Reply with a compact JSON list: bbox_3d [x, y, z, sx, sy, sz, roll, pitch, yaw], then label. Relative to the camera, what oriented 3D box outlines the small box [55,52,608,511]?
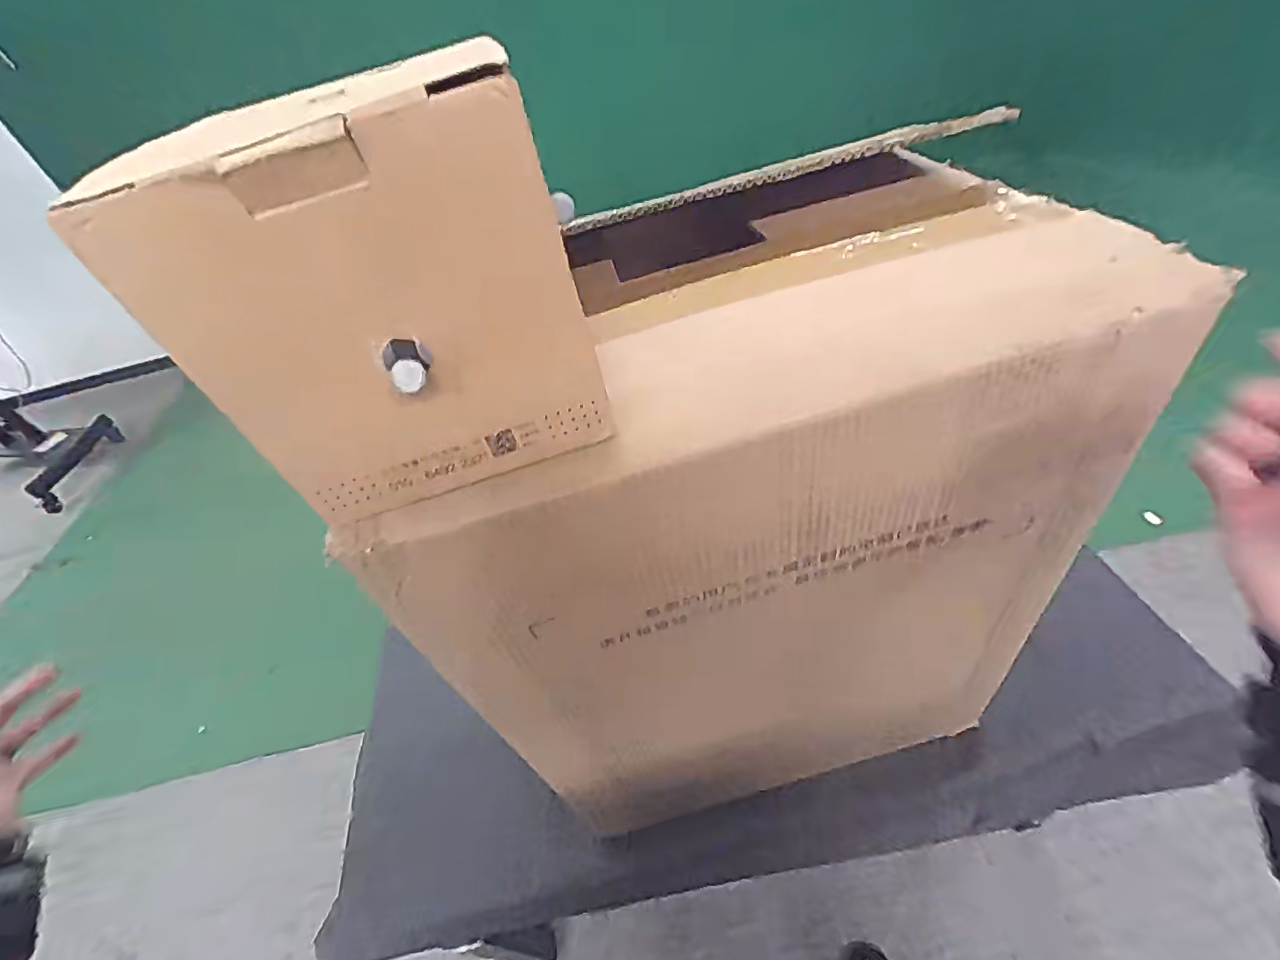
[{"bbox_3d":[-0.126,-0.103,0.301,0.168,0.176,0.179,-19,44,-2],"label":"small box"}]
